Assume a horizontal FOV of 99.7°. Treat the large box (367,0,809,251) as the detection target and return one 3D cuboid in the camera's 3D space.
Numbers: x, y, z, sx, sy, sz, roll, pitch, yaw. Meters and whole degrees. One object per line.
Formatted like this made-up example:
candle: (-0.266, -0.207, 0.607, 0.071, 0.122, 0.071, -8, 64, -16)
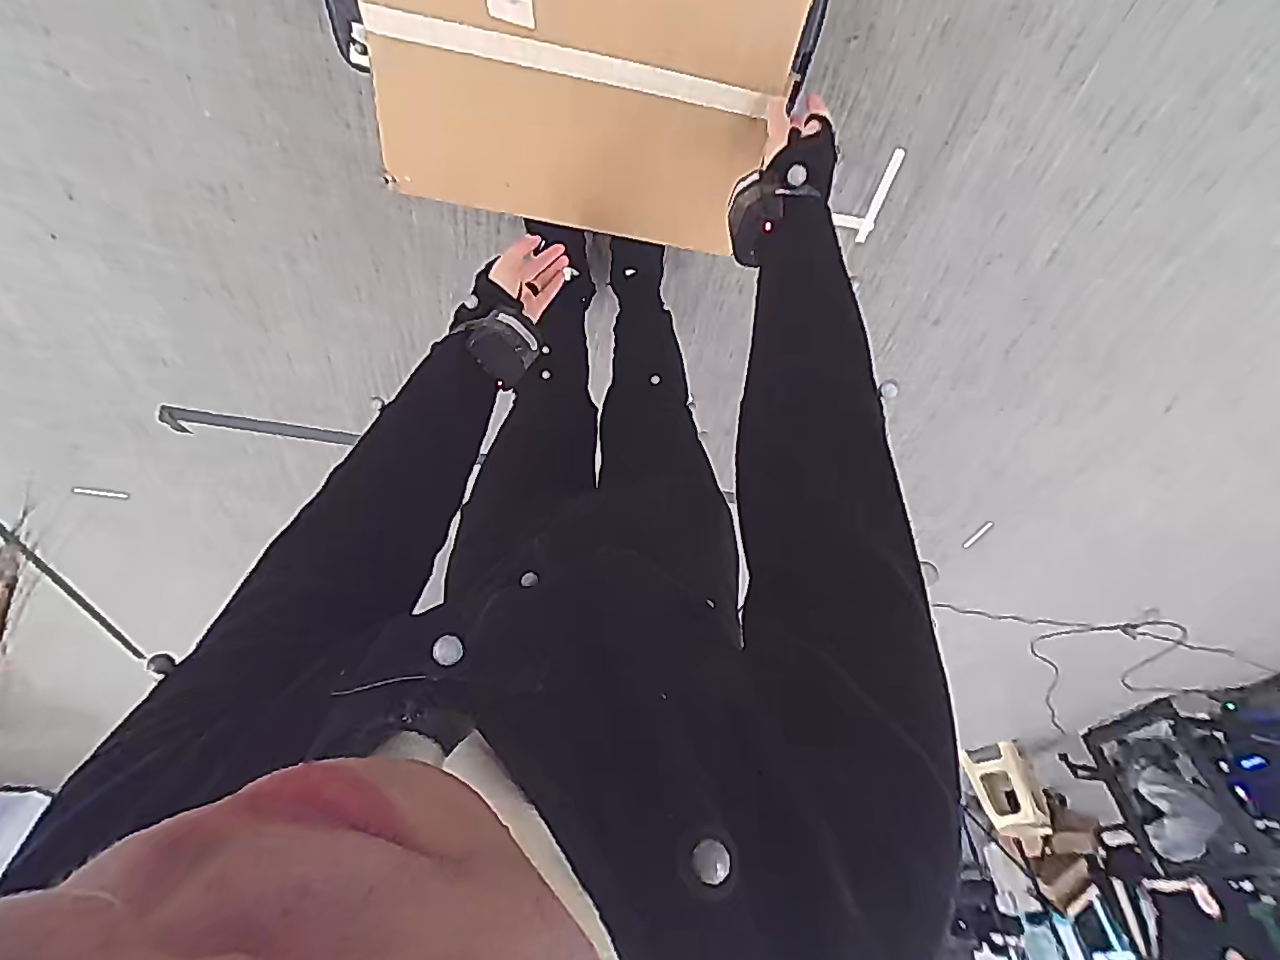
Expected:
large box: (-0.051, -0.510, 0.622, 0.408, 0.320, 0.320, 8, 136, -7)
